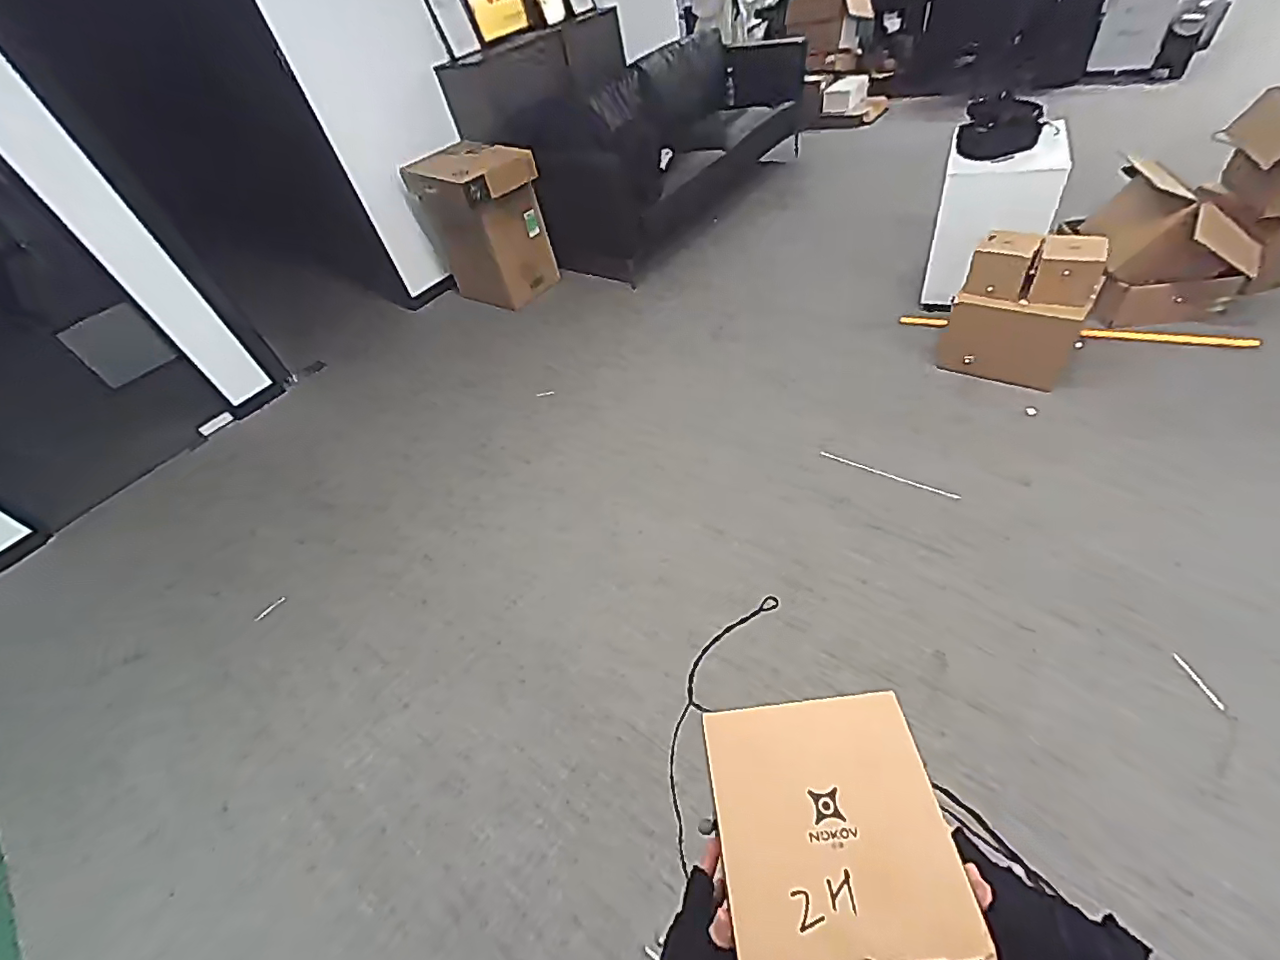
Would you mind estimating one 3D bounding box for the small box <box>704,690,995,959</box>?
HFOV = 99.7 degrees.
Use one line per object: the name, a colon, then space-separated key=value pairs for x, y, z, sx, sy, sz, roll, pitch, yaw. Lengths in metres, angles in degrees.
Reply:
small box: x=0.147 y=0.302 z=0.457 sx=0.168 sy=0.176 sz=0.179 roll=-8 pitch=48 yaw=3
